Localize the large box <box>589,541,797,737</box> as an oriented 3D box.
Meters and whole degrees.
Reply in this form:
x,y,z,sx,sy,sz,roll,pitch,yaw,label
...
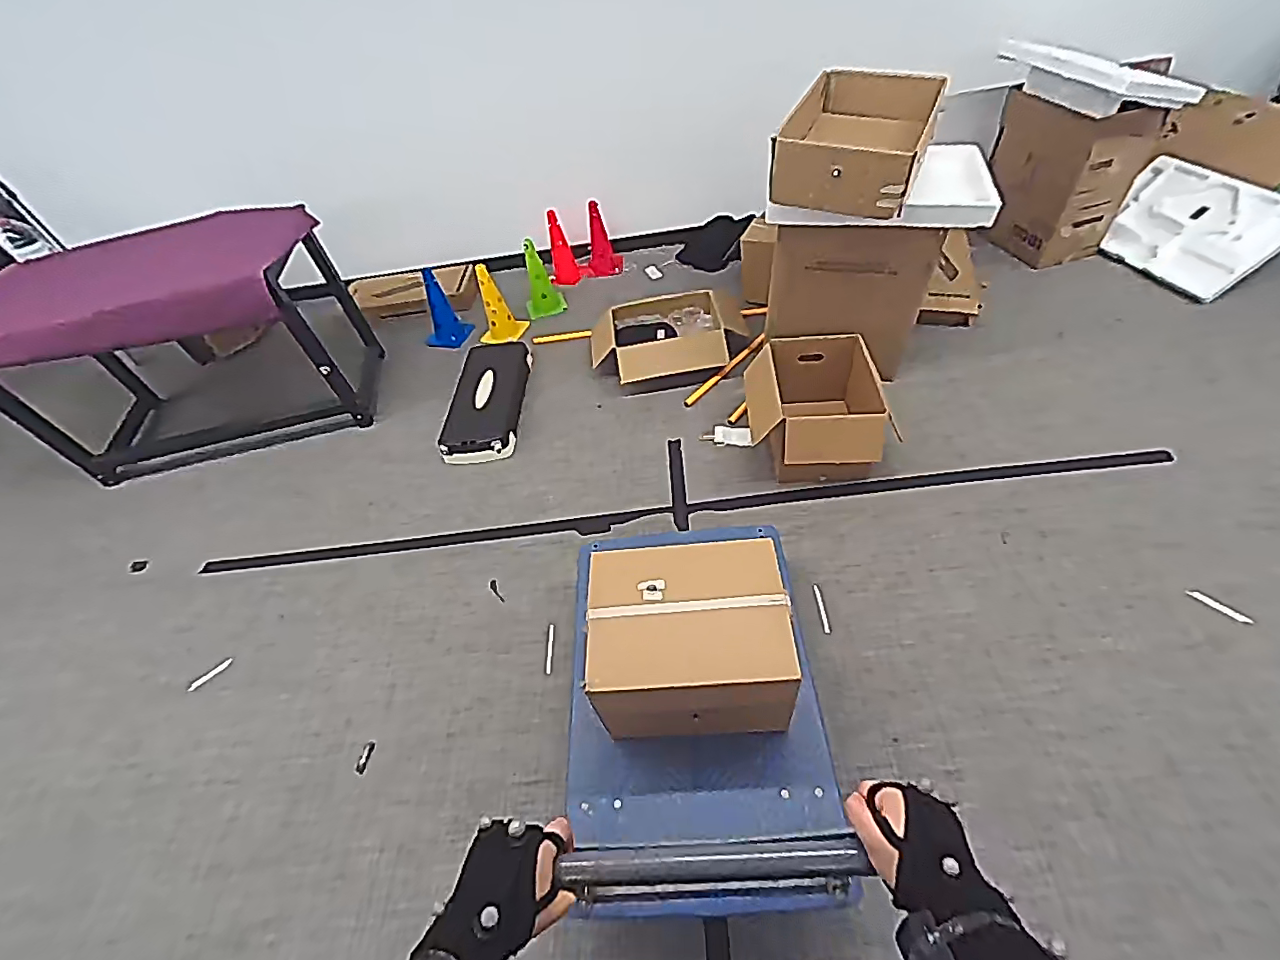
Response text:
x,y,z,sx,sy,sz,roll,pitch,yaw,label
0.116,0.369,1.229,0.408,0.320,0.320,-6,48,5,large box
